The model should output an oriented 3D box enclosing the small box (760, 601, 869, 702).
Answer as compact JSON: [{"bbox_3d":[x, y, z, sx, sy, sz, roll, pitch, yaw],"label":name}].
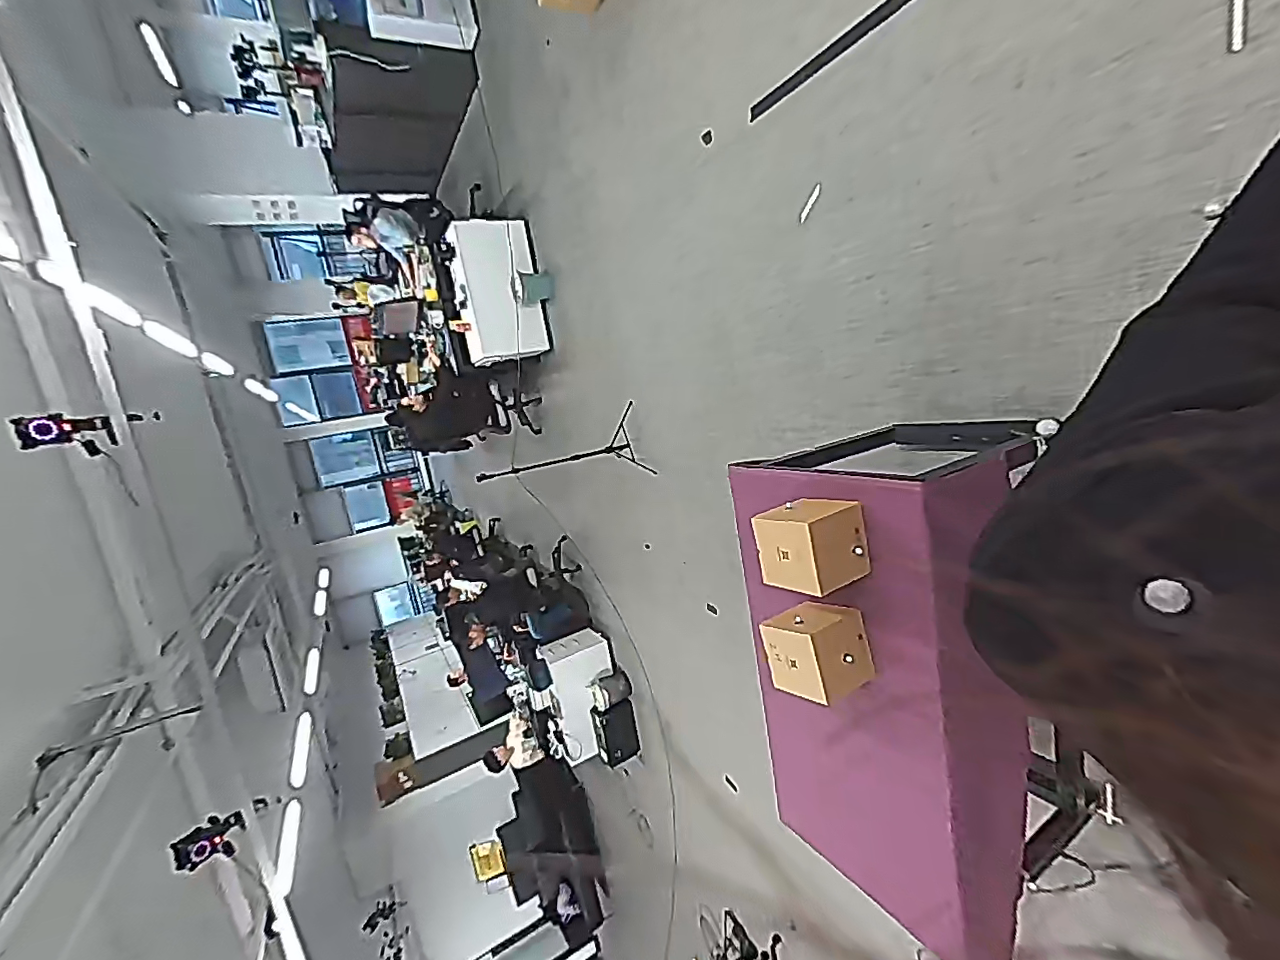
[{"bbox_3d":[0.424,0.403,1.303,0.179,0.176,0.168,-10,94,63],"label":"small box"}]

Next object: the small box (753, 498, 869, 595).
[{"bbox_3d":[0.388,0.142,1.234,0.179,0.176,0.168,2,107,62],"label":"small box"}]
